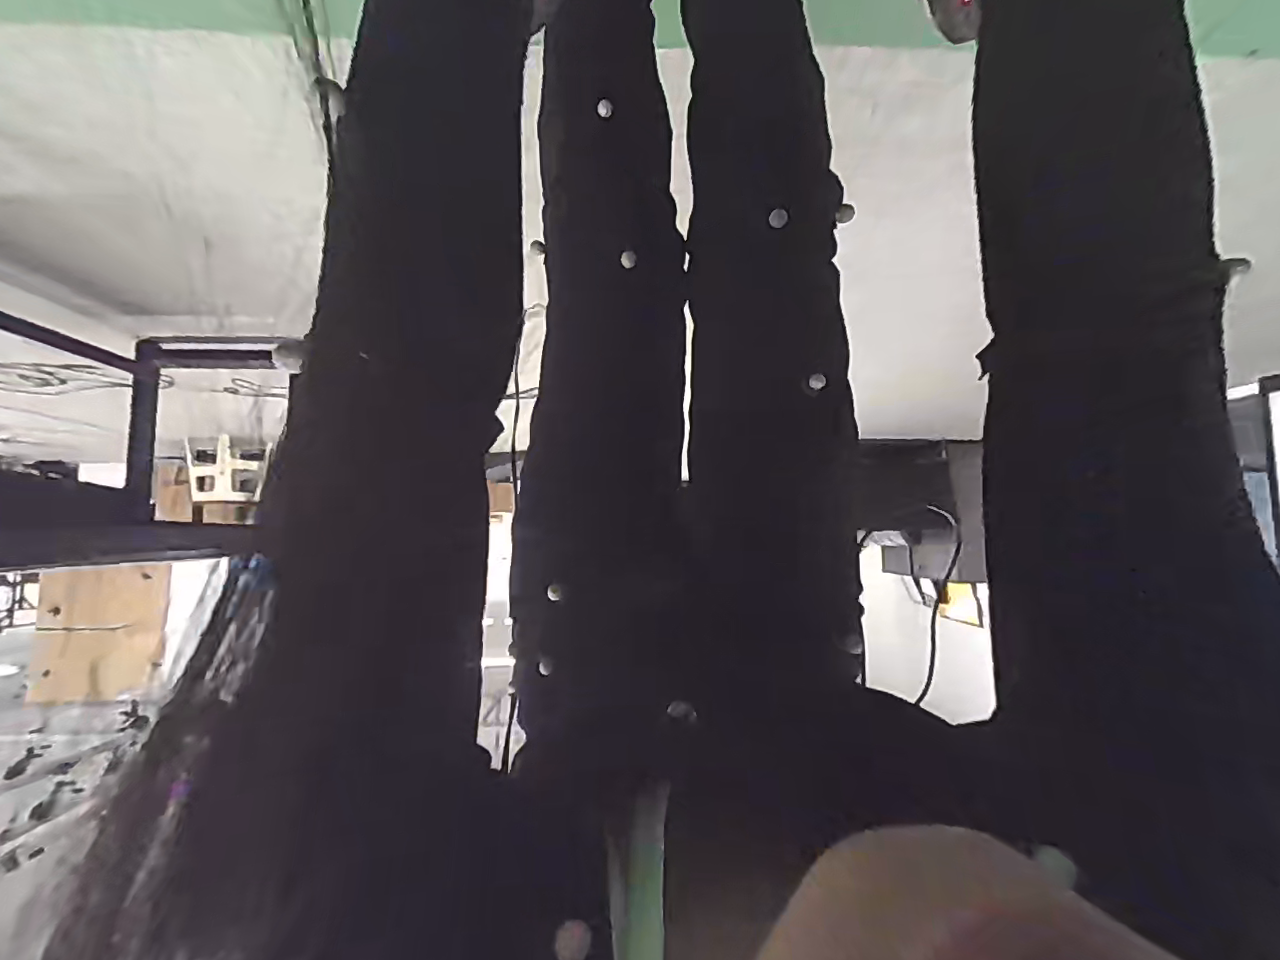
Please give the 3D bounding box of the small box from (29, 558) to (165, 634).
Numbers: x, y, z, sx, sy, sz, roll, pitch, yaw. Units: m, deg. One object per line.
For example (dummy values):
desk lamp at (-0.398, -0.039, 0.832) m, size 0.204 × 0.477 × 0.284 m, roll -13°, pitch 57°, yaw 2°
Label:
small box at (-1.327, 0.280, 1.335) m, size 0.179 × 0.176 × 0.168 m, roll 0°, pitch 175°, yaw -3°
